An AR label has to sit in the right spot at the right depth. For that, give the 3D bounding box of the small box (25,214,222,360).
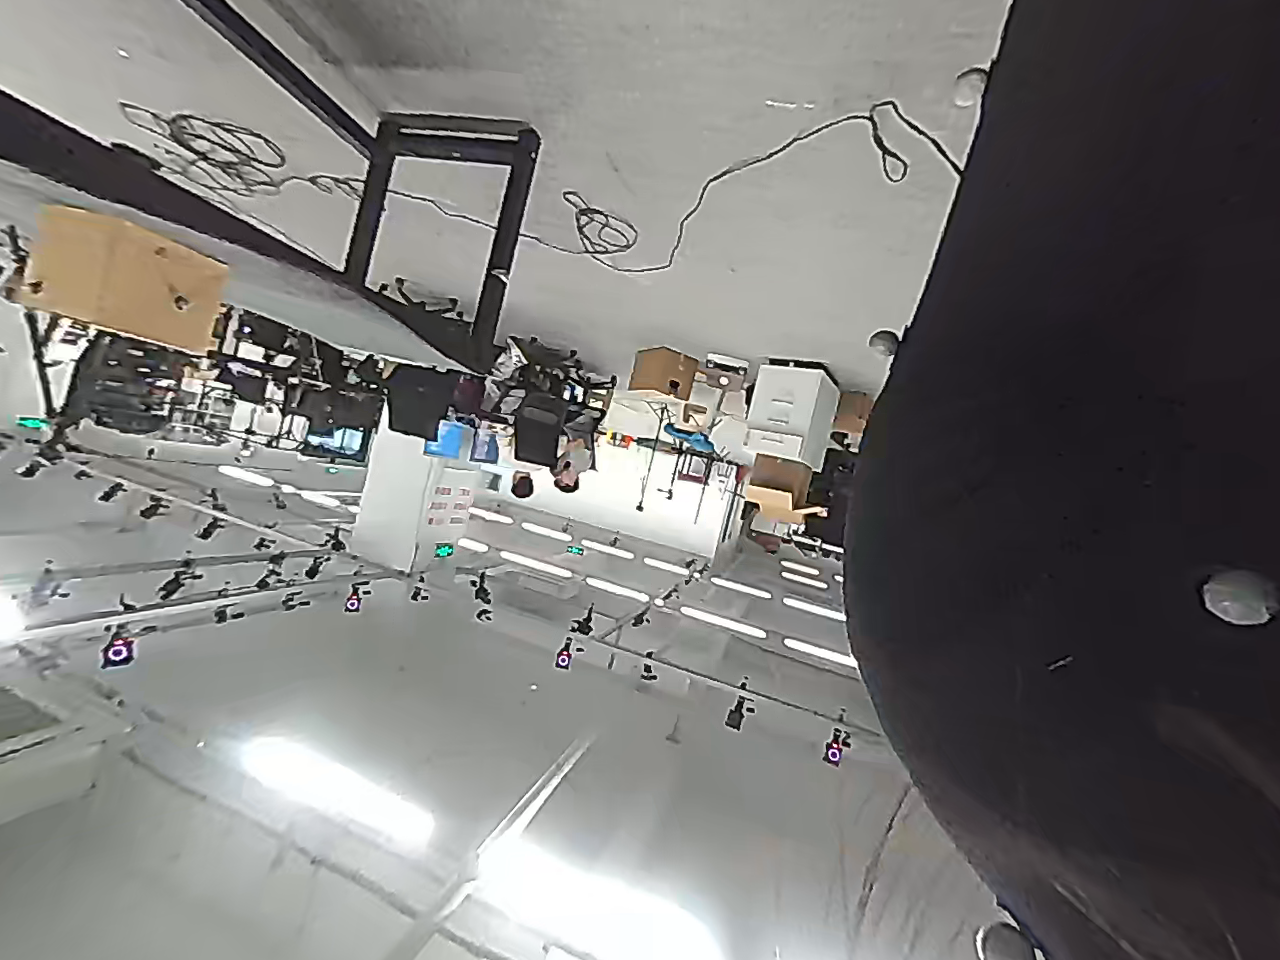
[{"bbox_3d":[-0.834,-0.312,0.888,0.179,0.176,0.168,15,-179,14],"label":"small box"}]
